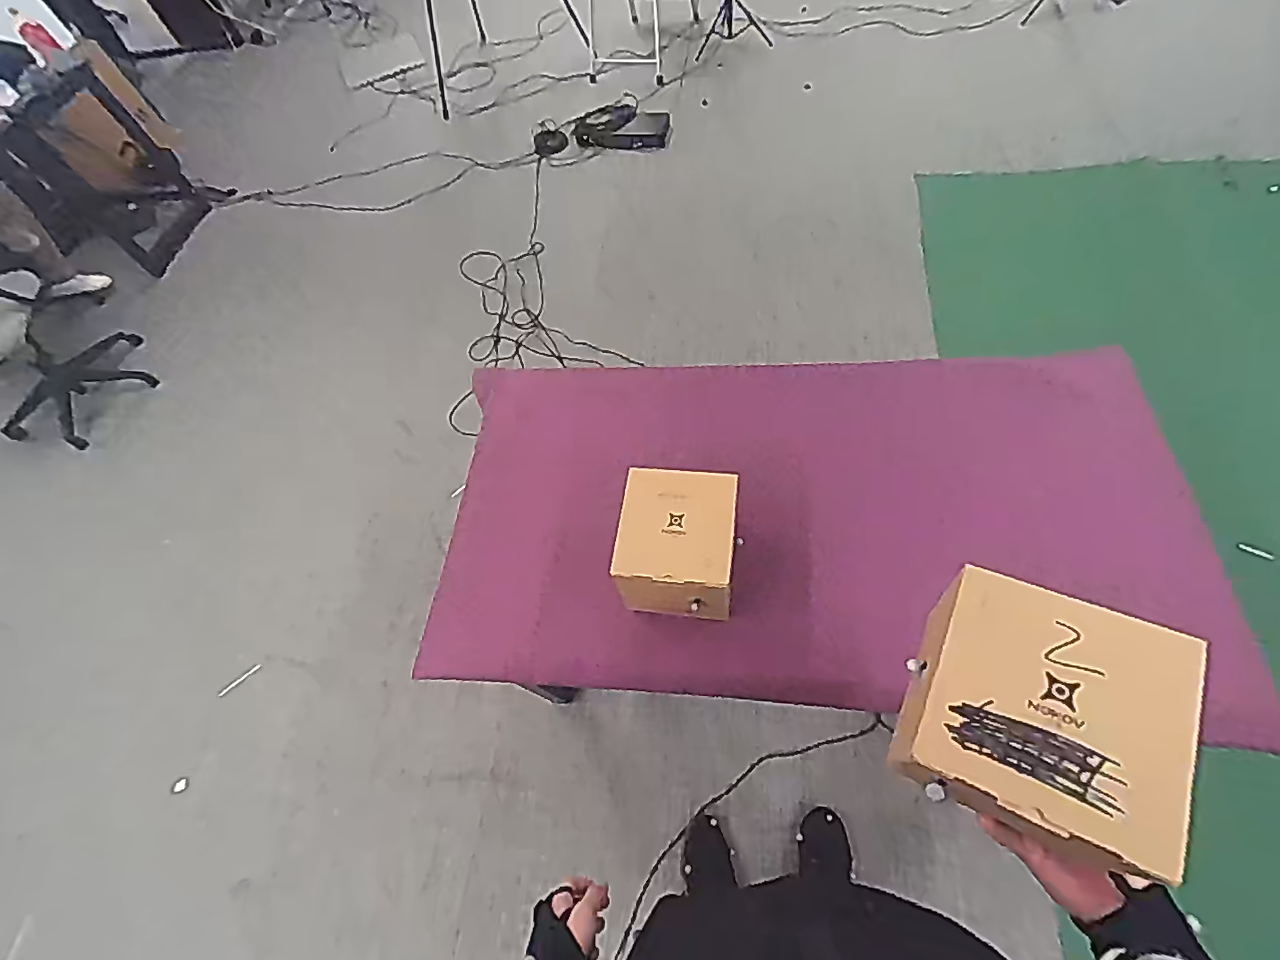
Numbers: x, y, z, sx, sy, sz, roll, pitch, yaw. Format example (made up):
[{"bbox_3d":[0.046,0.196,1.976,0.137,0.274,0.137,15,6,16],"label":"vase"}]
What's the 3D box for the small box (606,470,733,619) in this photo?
[{"bbox_3d":[0.056,0.106,0.845,0.168,0.176,0.179,5,61,10],"label":"small box"}]
